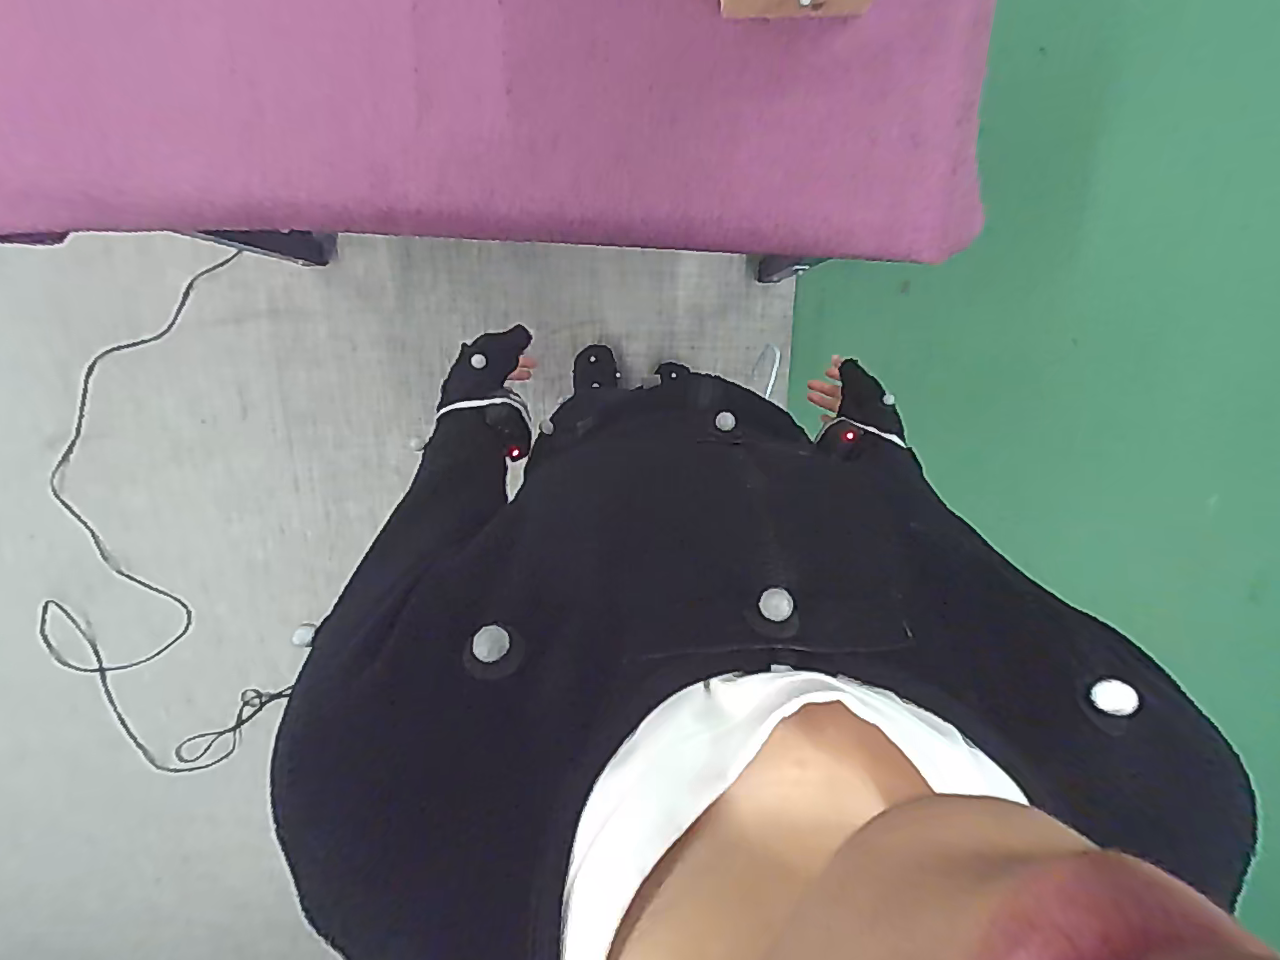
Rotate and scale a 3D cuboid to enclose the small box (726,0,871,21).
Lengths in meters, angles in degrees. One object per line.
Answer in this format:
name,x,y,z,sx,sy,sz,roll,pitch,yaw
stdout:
small box,0.173,-0.589,0.515,0.168,0.176,0.179,-2,104,-1
